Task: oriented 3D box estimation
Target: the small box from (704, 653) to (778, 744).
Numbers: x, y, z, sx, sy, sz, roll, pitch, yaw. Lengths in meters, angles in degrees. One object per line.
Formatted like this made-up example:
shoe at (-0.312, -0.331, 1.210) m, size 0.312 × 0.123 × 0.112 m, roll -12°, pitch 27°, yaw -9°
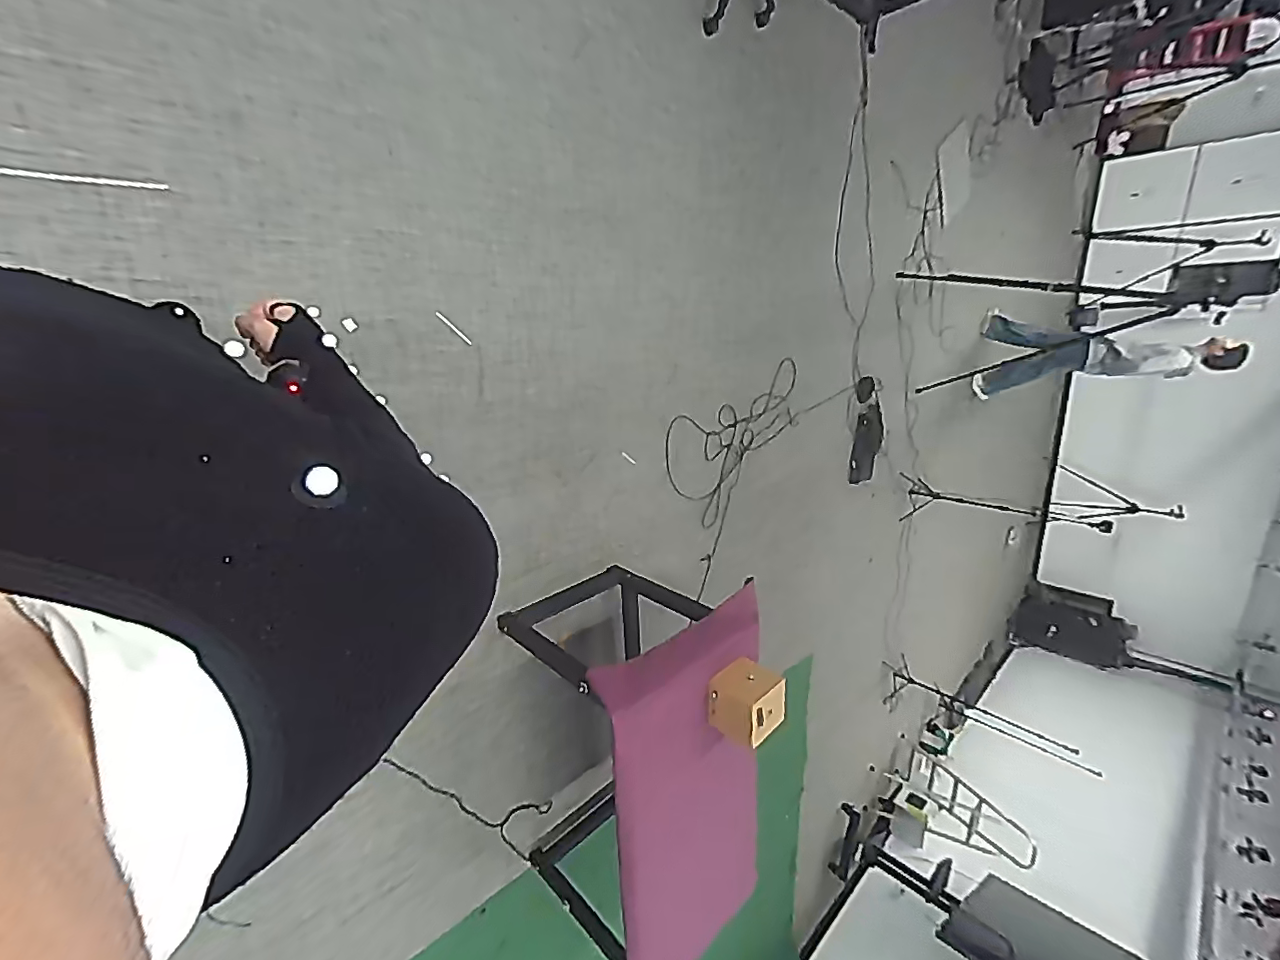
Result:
small box at (0.314, 0.680, 1.700) m, size 0.179 × 0.176 × 0.168 m, roll -19°, pitch 114°, yaw -41°
